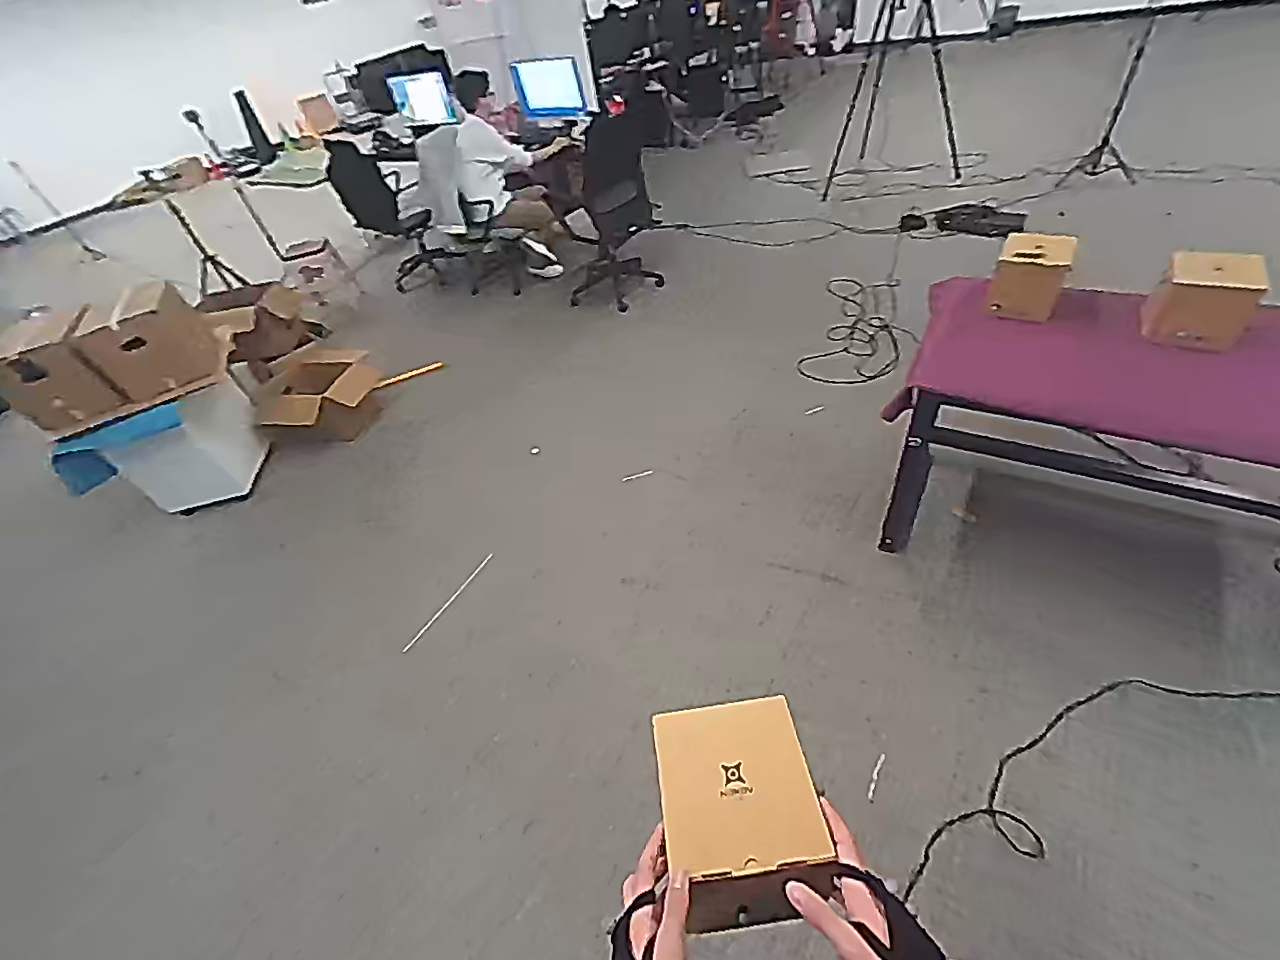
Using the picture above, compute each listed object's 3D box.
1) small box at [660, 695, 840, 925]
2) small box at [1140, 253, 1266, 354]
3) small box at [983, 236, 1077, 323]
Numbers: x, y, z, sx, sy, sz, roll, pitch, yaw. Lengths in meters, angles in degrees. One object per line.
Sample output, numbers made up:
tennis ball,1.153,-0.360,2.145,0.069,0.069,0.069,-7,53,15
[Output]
small box,0.117,0.386,0.639,0.168,0.176,0.179,-8,38,1
small box,1.387,-0.441,1.345,0.168,0.176,0.179,18,52,29
small box,1.098,-0.568,1.533,0.168,0.176,0.179,21,54,29
